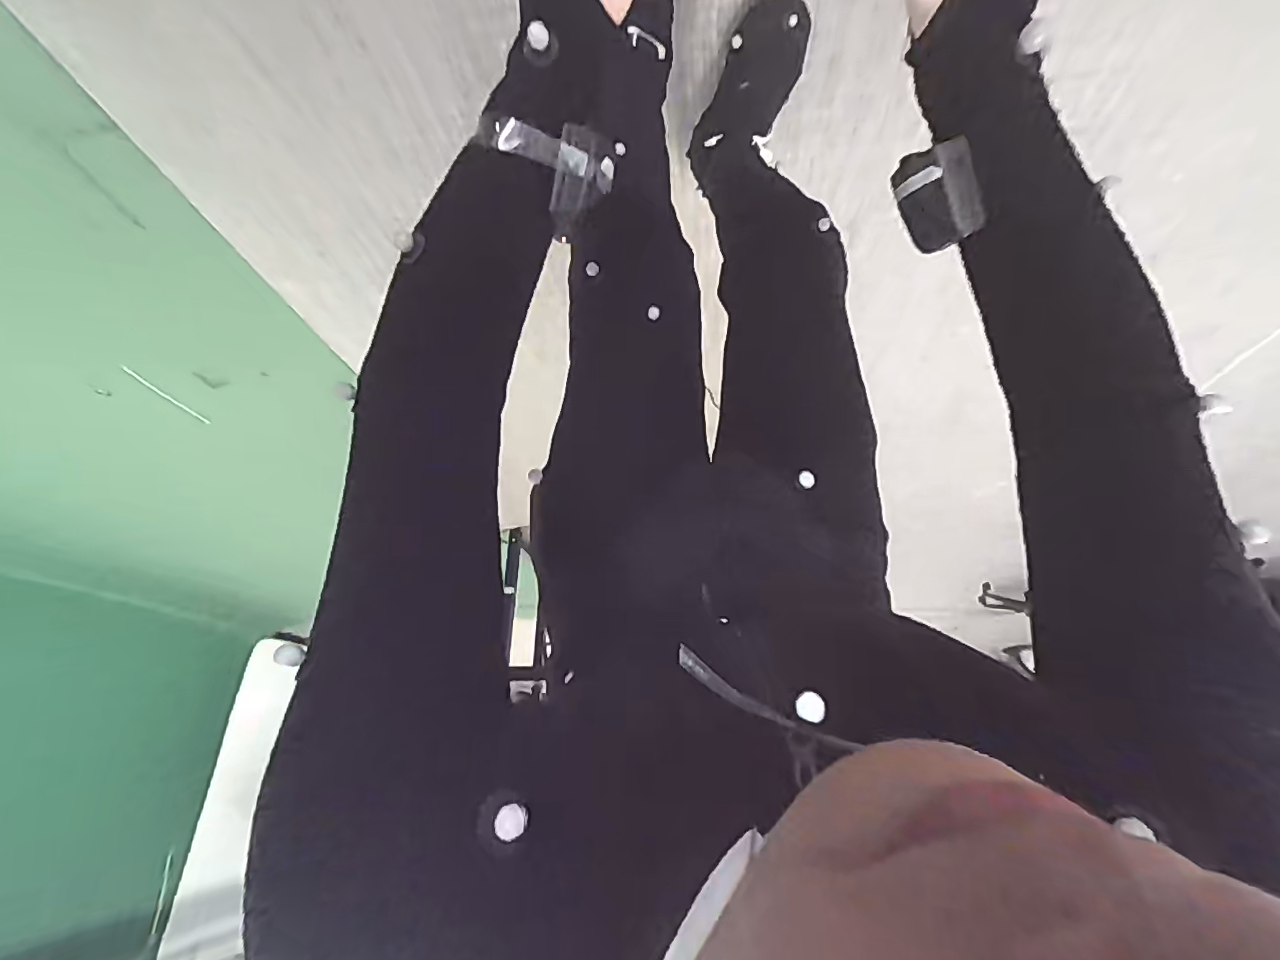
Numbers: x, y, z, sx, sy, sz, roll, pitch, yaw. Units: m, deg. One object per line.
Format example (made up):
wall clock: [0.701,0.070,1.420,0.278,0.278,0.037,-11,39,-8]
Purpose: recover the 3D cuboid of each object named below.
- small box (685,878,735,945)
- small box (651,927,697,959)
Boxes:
small box: [0.271,1.651,2.077,0.179,0.176,0.168,-4,153,9]
small box: [0.129,1.809,2.029,0.168,0.176,0.179,-2,155,6]
